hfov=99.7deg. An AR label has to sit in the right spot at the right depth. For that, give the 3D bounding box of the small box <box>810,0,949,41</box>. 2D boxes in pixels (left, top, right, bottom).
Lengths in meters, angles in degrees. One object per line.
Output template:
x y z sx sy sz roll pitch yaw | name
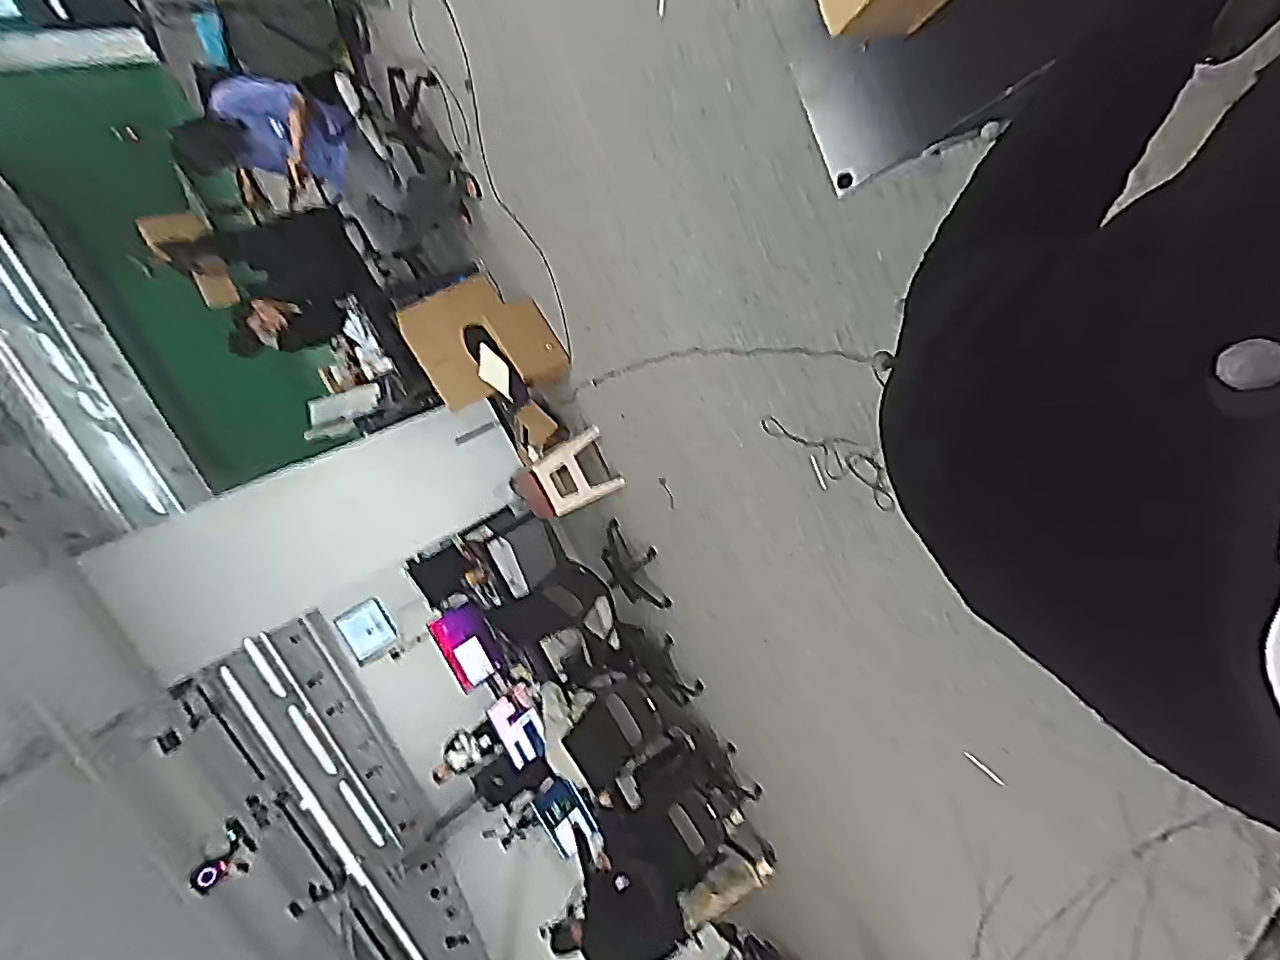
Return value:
0.259 -0.560 0.505 0.179 0.176 0.168 -14 105 59 | small box
